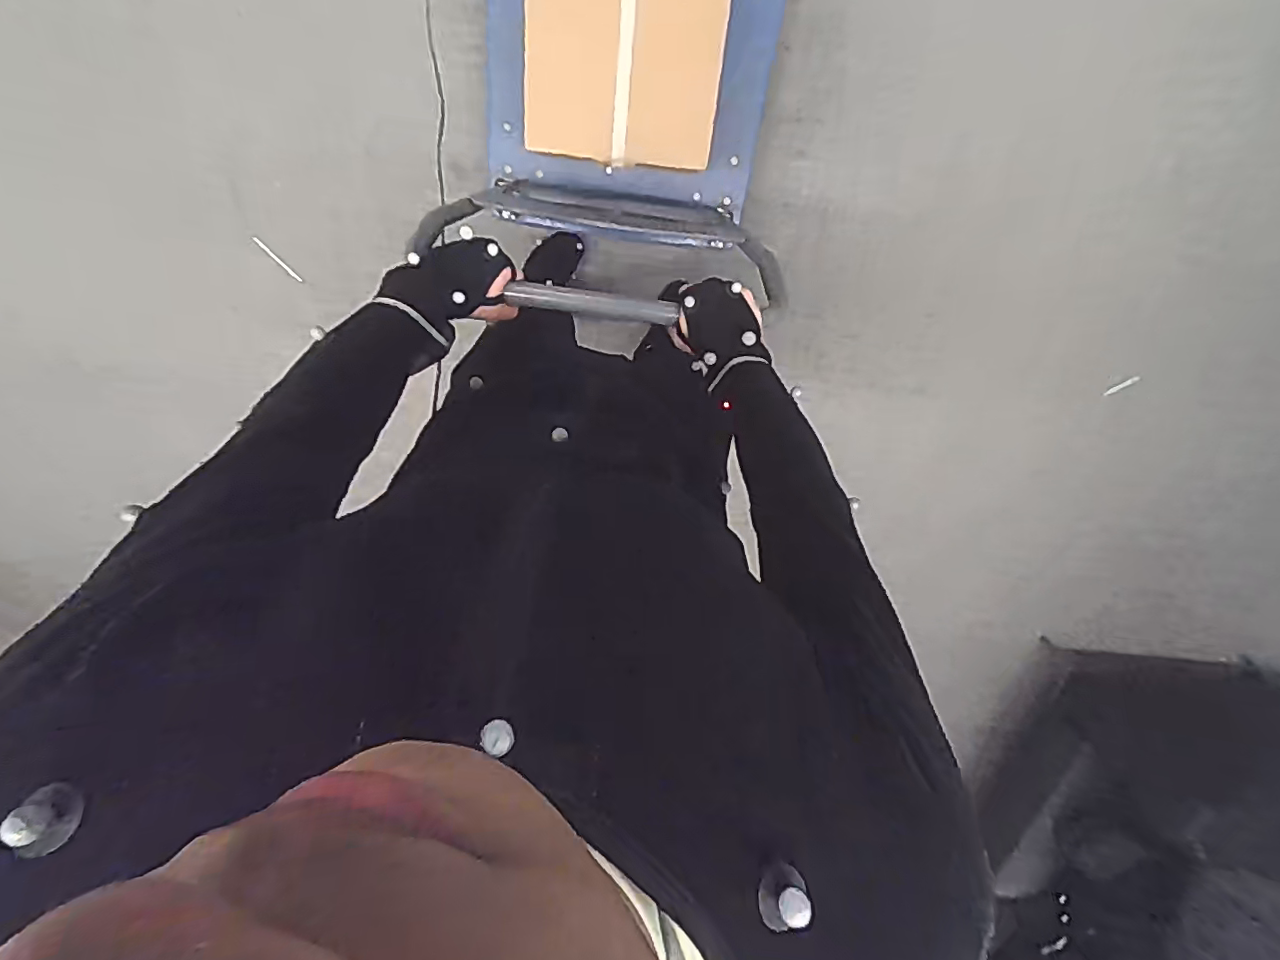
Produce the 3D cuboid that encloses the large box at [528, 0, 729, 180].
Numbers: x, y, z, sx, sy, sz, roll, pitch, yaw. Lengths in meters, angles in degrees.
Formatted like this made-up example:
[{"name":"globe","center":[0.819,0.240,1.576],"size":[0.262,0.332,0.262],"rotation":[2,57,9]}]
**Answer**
[{"name":"large box","center":[-0.018,-0.780,0.972],"size":[0.320,0.320,0.408],"rotation":[5,118,-3]}]
